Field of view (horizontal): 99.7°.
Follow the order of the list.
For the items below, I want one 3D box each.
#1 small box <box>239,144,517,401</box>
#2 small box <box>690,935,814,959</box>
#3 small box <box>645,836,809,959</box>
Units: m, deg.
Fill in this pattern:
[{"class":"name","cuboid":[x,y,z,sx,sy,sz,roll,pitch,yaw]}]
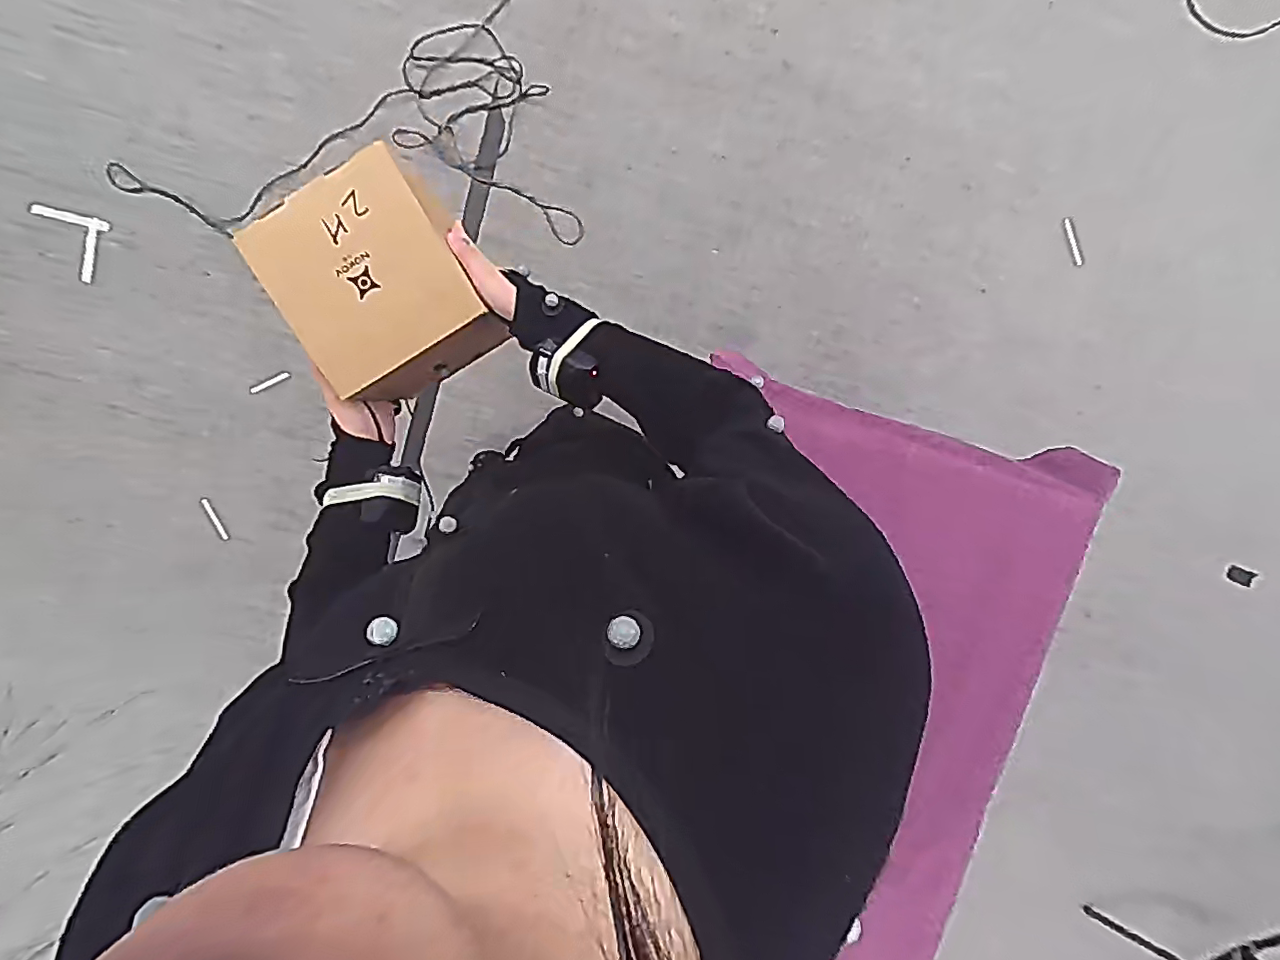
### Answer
[{"class":"small box","cuboid":[-0.253,-0.200,0.575,0.168,0.176,0.179,-30,98,3]},{"class":"small box","cuboid":[0.134,0.689,0.634,0.179,0.176,0.168,16,95,-7]},{"class":"small box","cuboid":[0.114,0.666,0.795,0.179,0.176,0.168,15,96,-8]}]
